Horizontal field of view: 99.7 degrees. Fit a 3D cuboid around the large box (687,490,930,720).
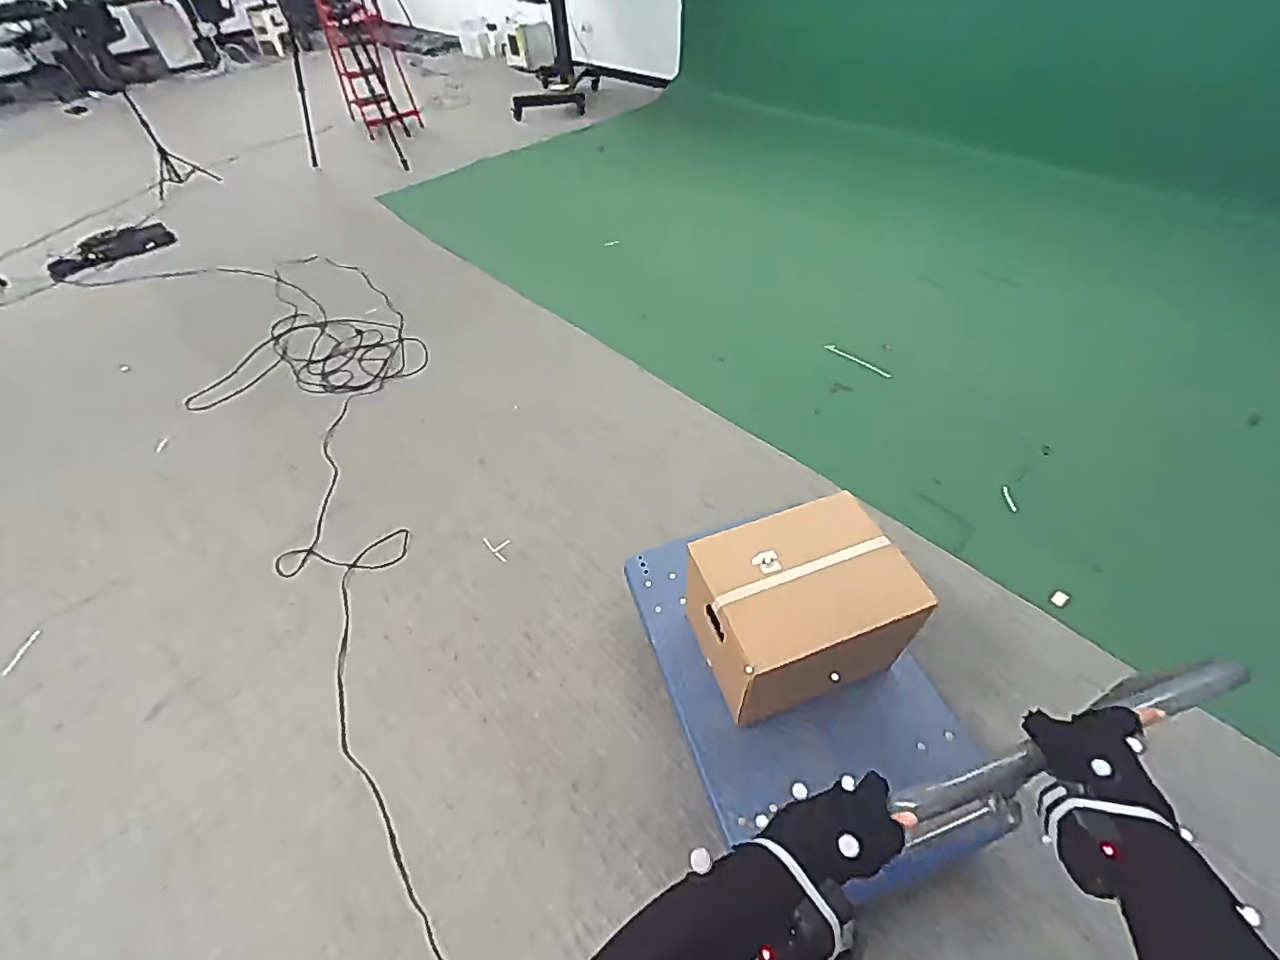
[{"bbox_3d":[0.350,0.285,1.236,0.408,0.320,0.320,-18,50,-10],"label":"large box"}]
